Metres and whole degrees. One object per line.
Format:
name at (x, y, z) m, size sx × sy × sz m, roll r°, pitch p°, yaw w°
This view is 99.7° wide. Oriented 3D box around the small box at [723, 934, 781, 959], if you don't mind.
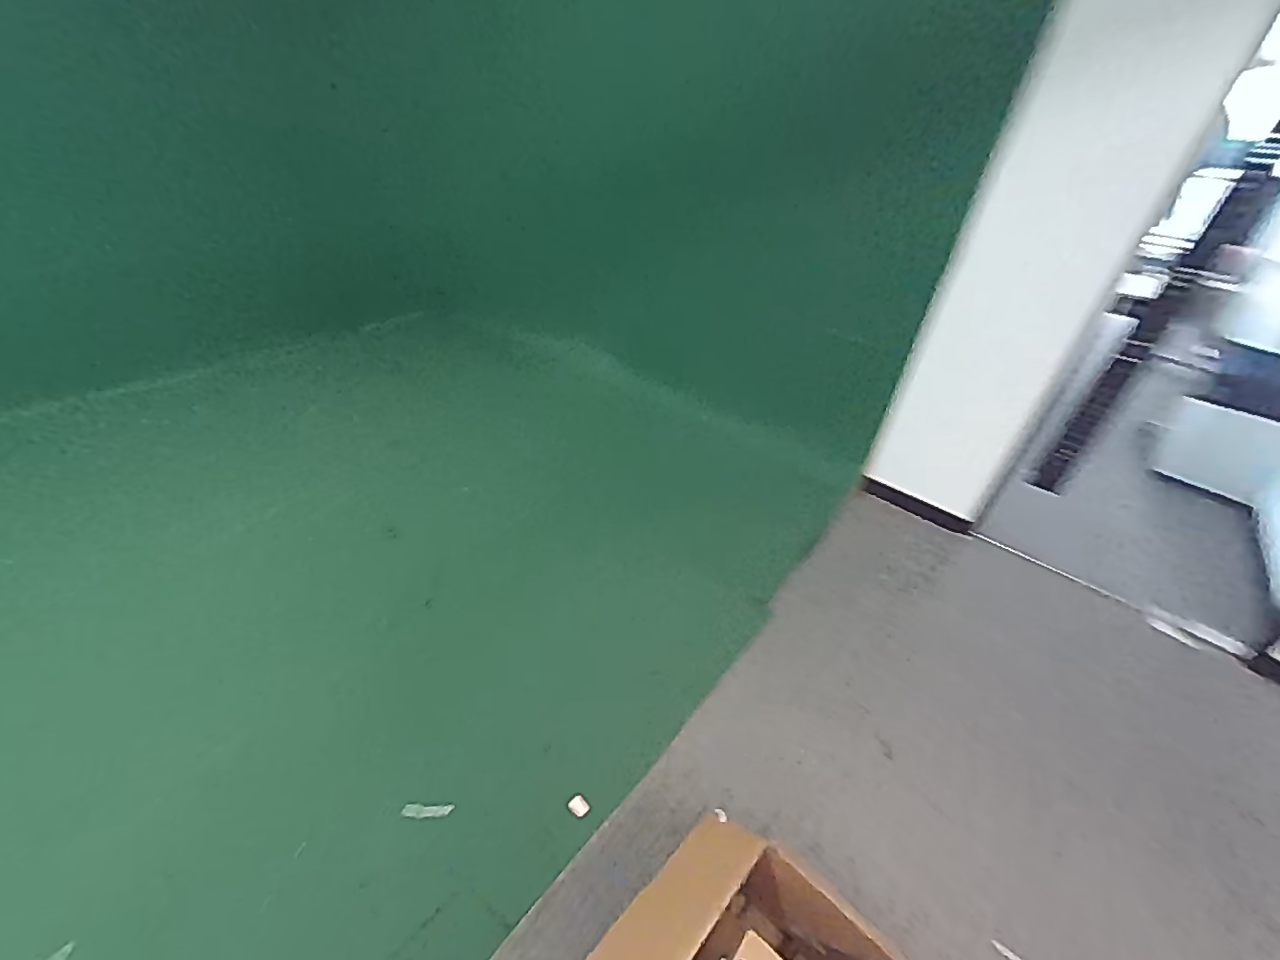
small box at (0.191, 0.908, 0.885) m, size 0.179 × 0.176 × 0.168 m, roll 35°, pitch 44°, yaw 27°
